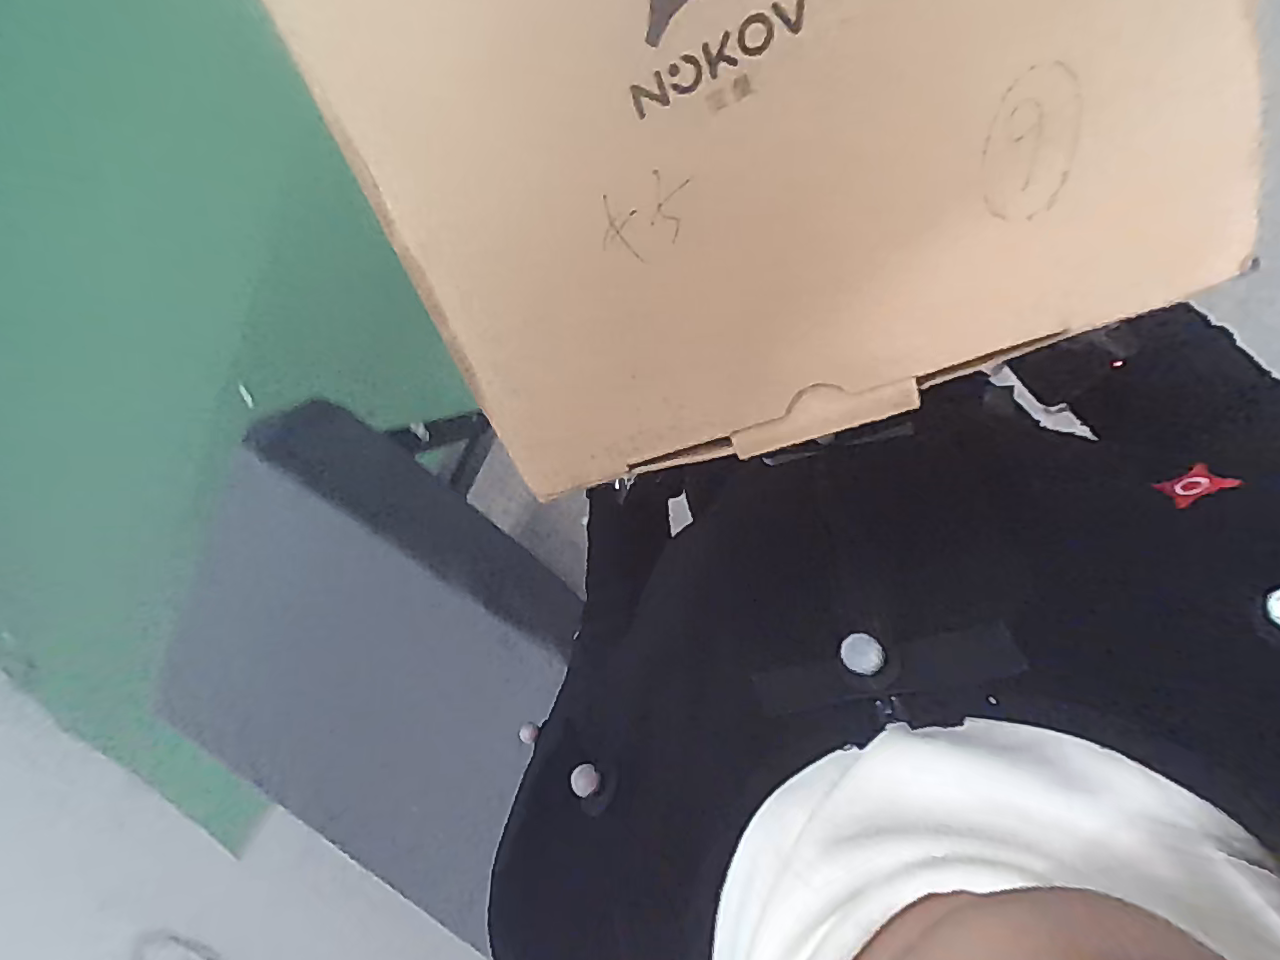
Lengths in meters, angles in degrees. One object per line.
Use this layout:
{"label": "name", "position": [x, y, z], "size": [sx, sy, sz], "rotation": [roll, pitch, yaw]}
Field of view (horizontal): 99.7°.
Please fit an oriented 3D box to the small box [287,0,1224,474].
{"label": "small box", "position": [0.026, -0.129, 0.175], "size": [0.168, 0.176, 0.179], "rotation": [-15, 112, 18]}
